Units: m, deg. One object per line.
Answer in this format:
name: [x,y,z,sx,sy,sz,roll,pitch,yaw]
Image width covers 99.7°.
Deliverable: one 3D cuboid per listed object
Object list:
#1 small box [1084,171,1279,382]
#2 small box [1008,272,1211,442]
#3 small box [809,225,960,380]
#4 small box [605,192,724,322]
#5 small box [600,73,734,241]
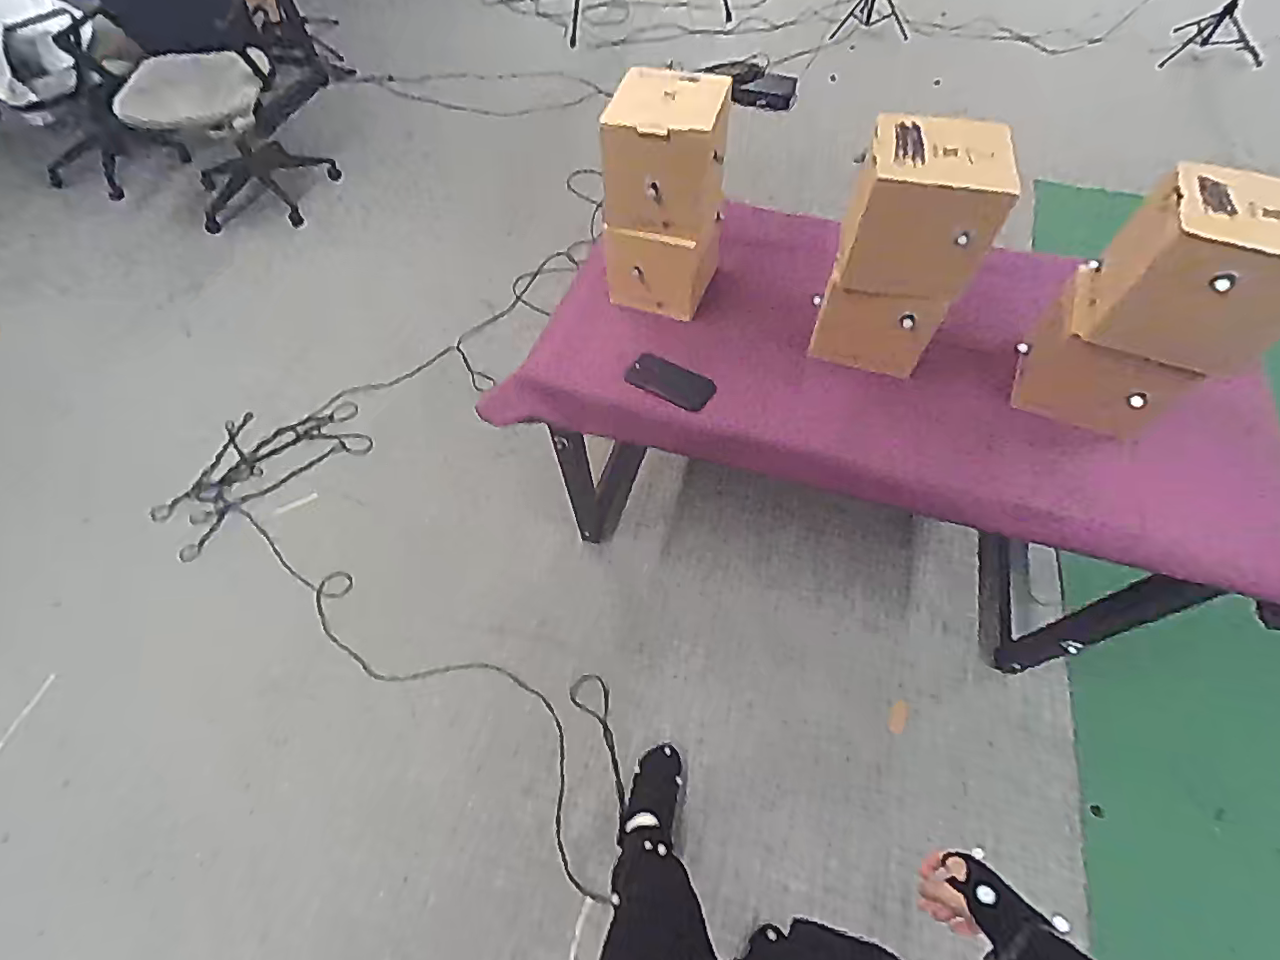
small box: [0.716,-0.253,0.690,0.179,0.176,0.168,23,62,14]
small box: [0.719,-0.184,0.839,0.179,0.176,0.168,23,62,15]
small box: [0.406,-0.294,0.916,0.179,0.176,0.168,17,61,12]
small box: [0.049,-0.424,1.010,0.168,0.176,0.179,18,61,12]
small box: [0.047,-0.516,0.873,0.168,0.176,0.179,14,61,9]
